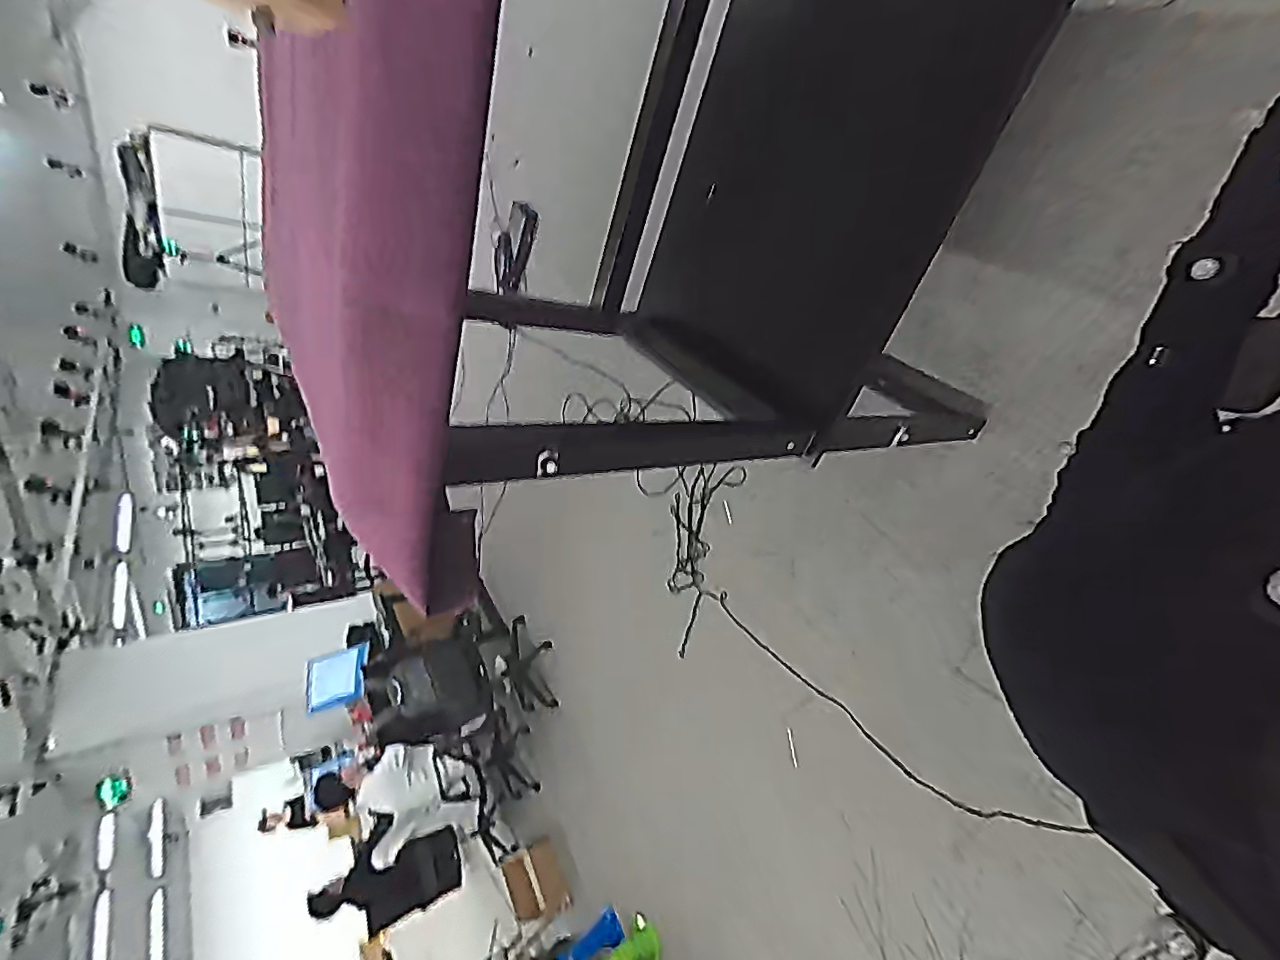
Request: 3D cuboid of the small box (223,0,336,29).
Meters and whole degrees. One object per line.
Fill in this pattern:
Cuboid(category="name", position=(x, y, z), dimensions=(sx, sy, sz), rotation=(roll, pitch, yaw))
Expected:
Cuboid(category="small box", position=(-0.288, -0.413, 0.332), dimensions=(0.179, 0.176, 0.168), rotation=(42, 126, 41))
